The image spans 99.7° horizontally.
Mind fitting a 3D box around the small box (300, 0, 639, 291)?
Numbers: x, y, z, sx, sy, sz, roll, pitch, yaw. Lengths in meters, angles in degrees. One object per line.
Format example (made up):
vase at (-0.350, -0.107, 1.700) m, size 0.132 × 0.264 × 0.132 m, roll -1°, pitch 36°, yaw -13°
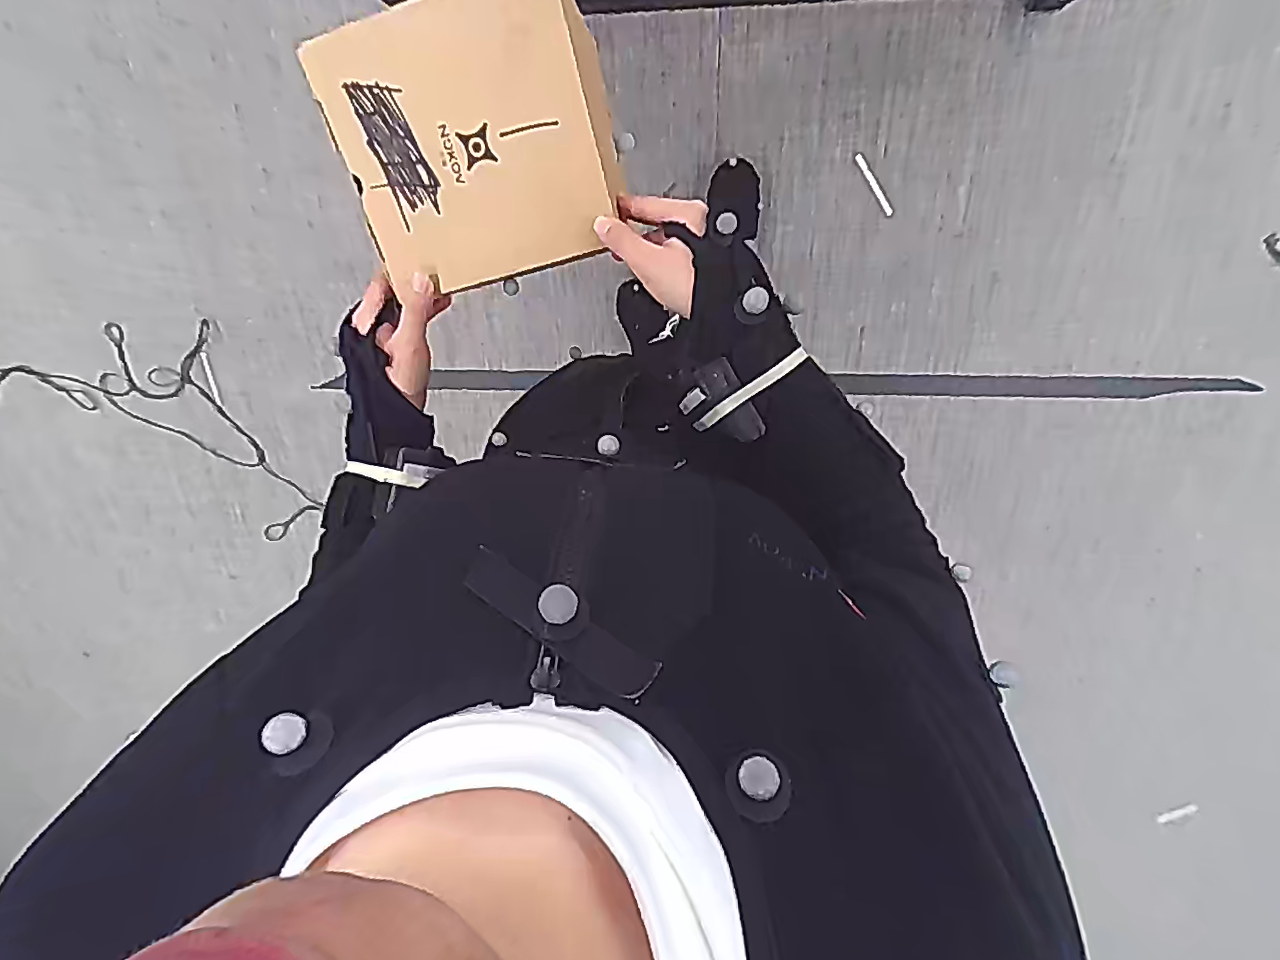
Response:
small box at (-0.106, -0.256, 0.426) m, size 0.179 × 0.176 × 0.168 m, roll -11°, pitch 112°, yaw 9°
